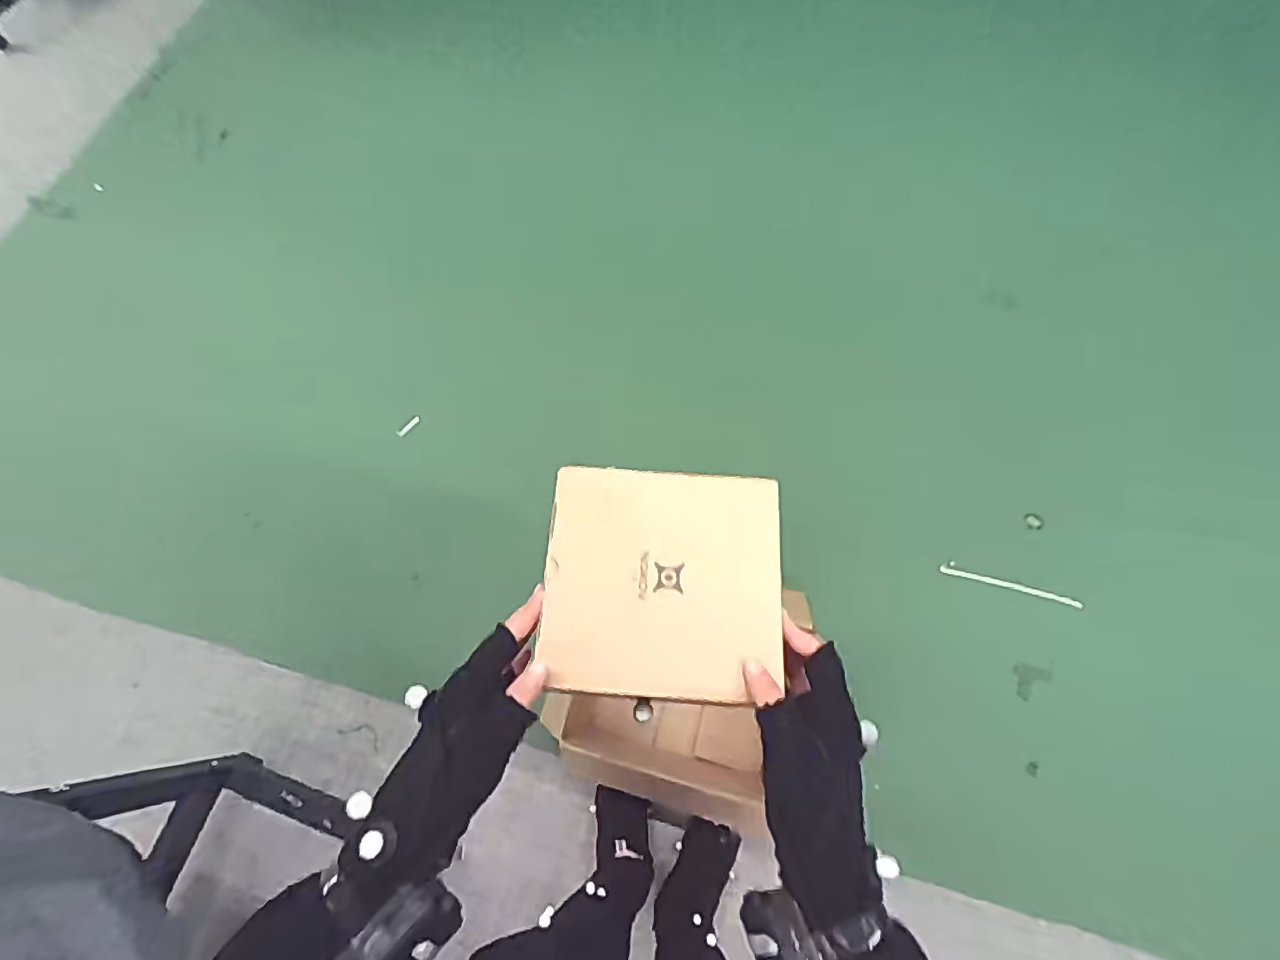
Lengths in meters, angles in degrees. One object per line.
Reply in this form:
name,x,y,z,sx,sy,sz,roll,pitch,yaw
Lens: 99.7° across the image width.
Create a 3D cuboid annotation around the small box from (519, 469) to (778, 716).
small box,0.010,0.102,0.462,0.179,0.176,0.168,3,68,1
